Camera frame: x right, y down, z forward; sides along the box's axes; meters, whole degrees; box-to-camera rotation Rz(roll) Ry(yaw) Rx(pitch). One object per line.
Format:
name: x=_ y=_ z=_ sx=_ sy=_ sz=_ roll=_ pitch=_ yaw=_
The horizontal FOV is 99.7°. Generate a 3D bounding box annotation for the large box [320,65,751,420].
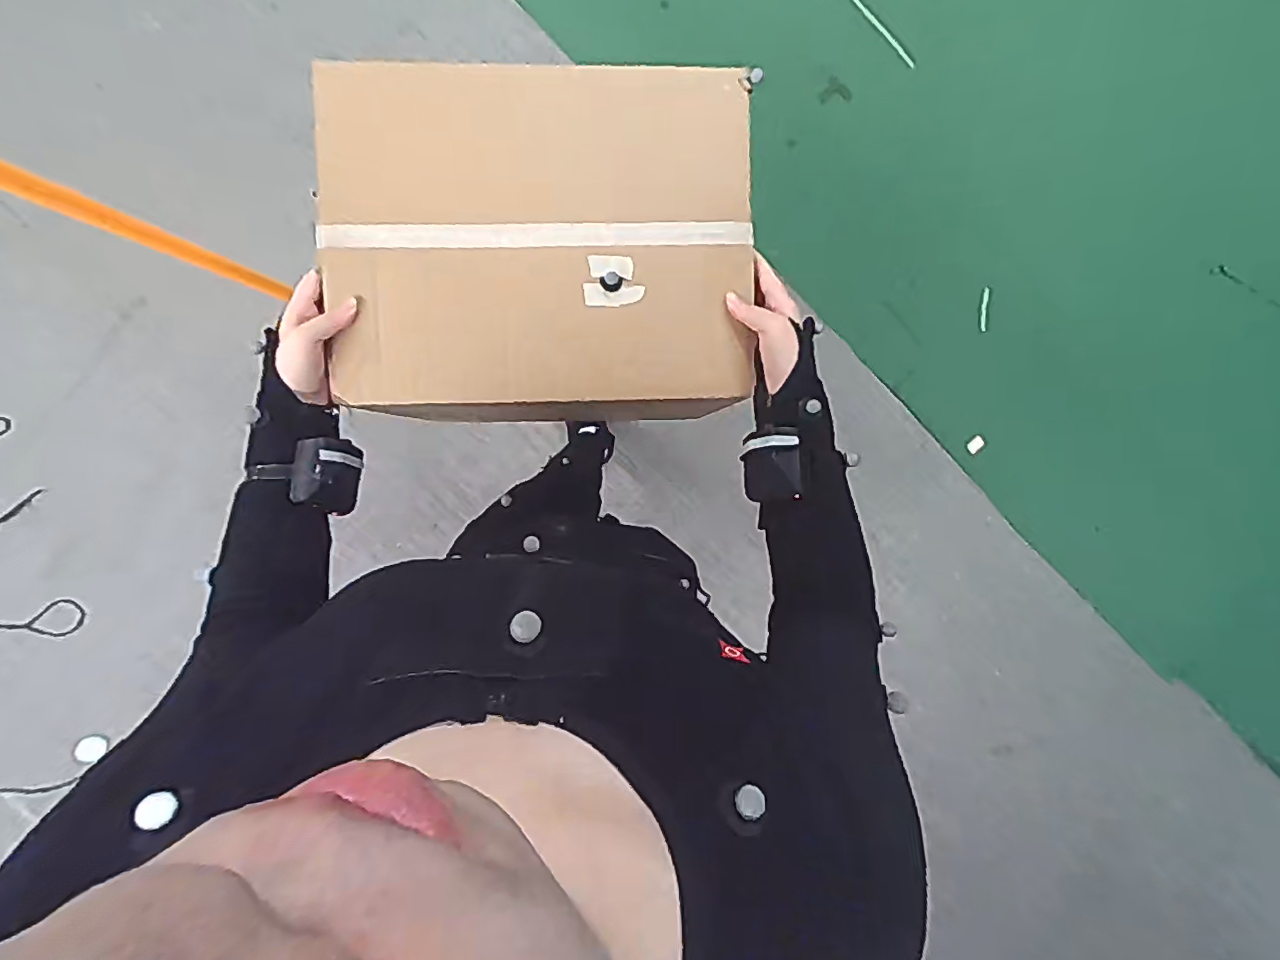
large box: x=-0.106 y=-0.247 z=0.669 sx=0.408 sy=0.320 sz=0.320 roll=-2 pitch=94 yaw=-4
